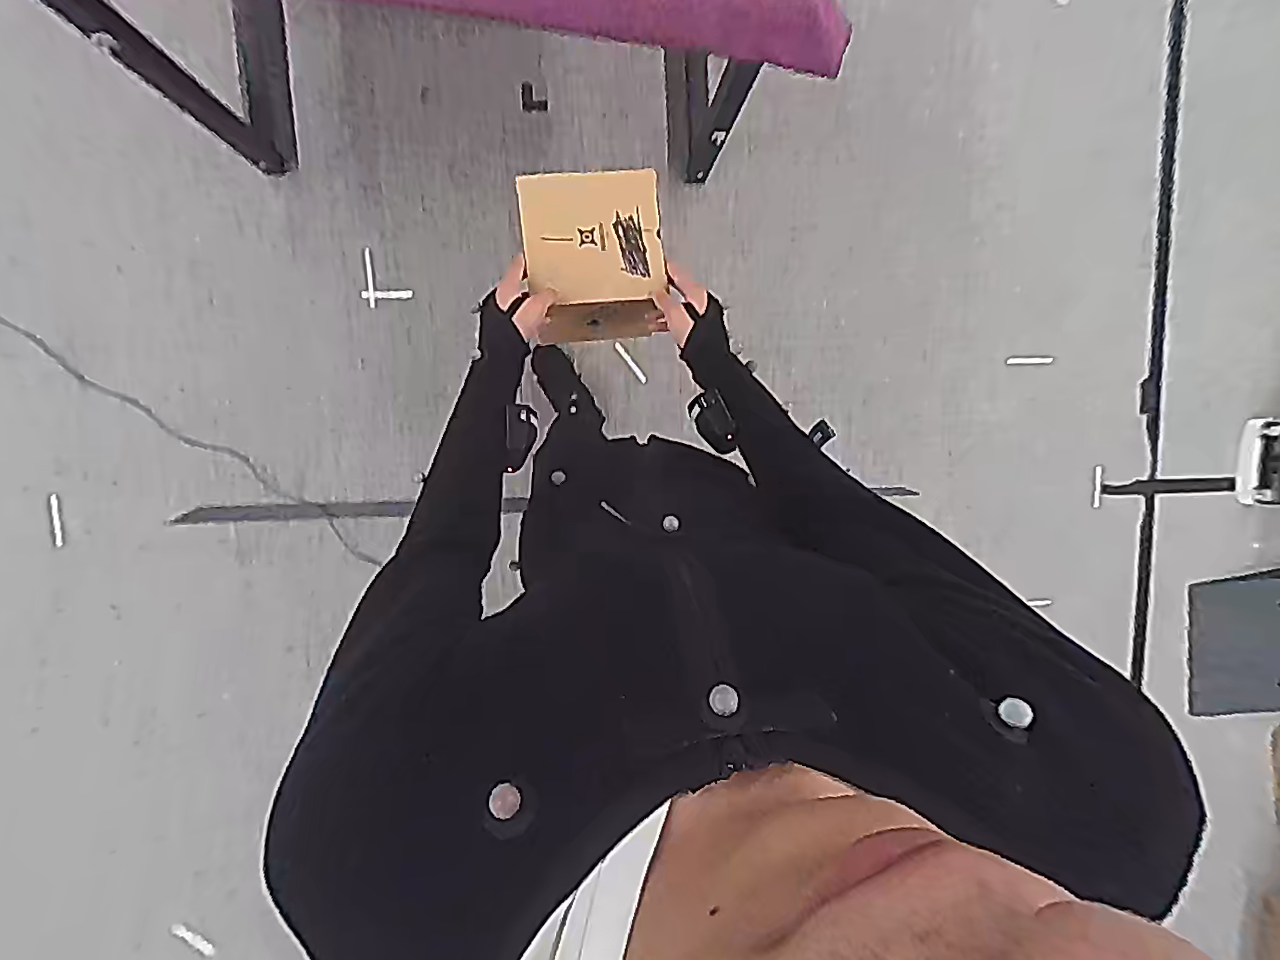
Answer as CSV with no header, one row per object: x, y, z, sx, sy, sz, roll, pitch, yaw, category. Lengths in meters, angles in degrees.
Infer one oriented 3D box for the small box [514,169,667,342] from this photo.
-0.069,-0.295,0.737,0.179,0.176,0.168,-6,89,-6,small box
